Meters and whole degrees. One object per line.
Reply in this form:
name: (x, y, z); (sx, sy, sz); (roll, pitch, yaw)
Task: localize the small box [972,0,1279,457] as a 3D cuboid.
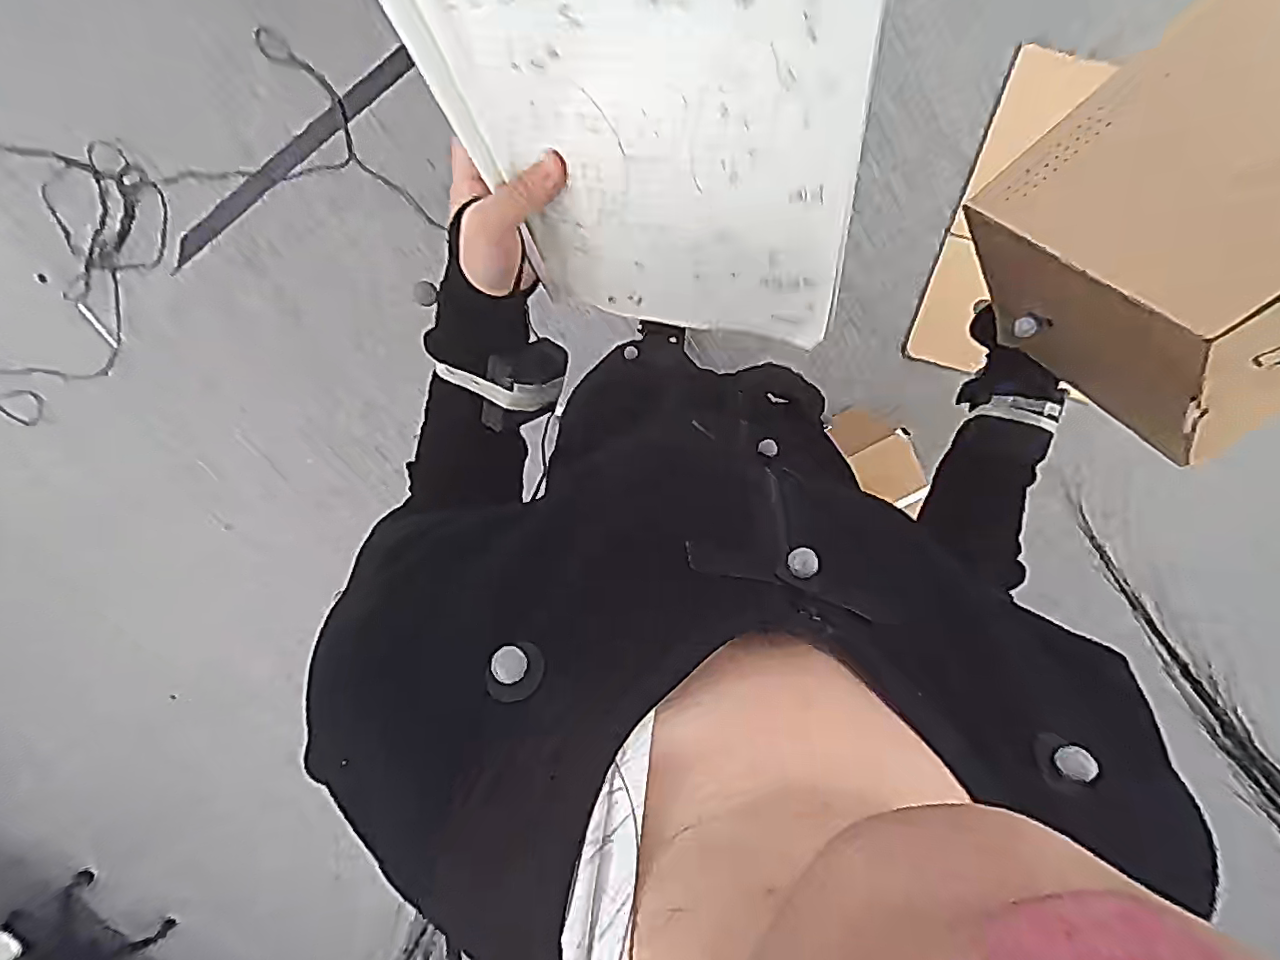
small box: (0.345, -0.152, 0.322); (0.179, 0.176, 0.168); (-40, 138, 20)
